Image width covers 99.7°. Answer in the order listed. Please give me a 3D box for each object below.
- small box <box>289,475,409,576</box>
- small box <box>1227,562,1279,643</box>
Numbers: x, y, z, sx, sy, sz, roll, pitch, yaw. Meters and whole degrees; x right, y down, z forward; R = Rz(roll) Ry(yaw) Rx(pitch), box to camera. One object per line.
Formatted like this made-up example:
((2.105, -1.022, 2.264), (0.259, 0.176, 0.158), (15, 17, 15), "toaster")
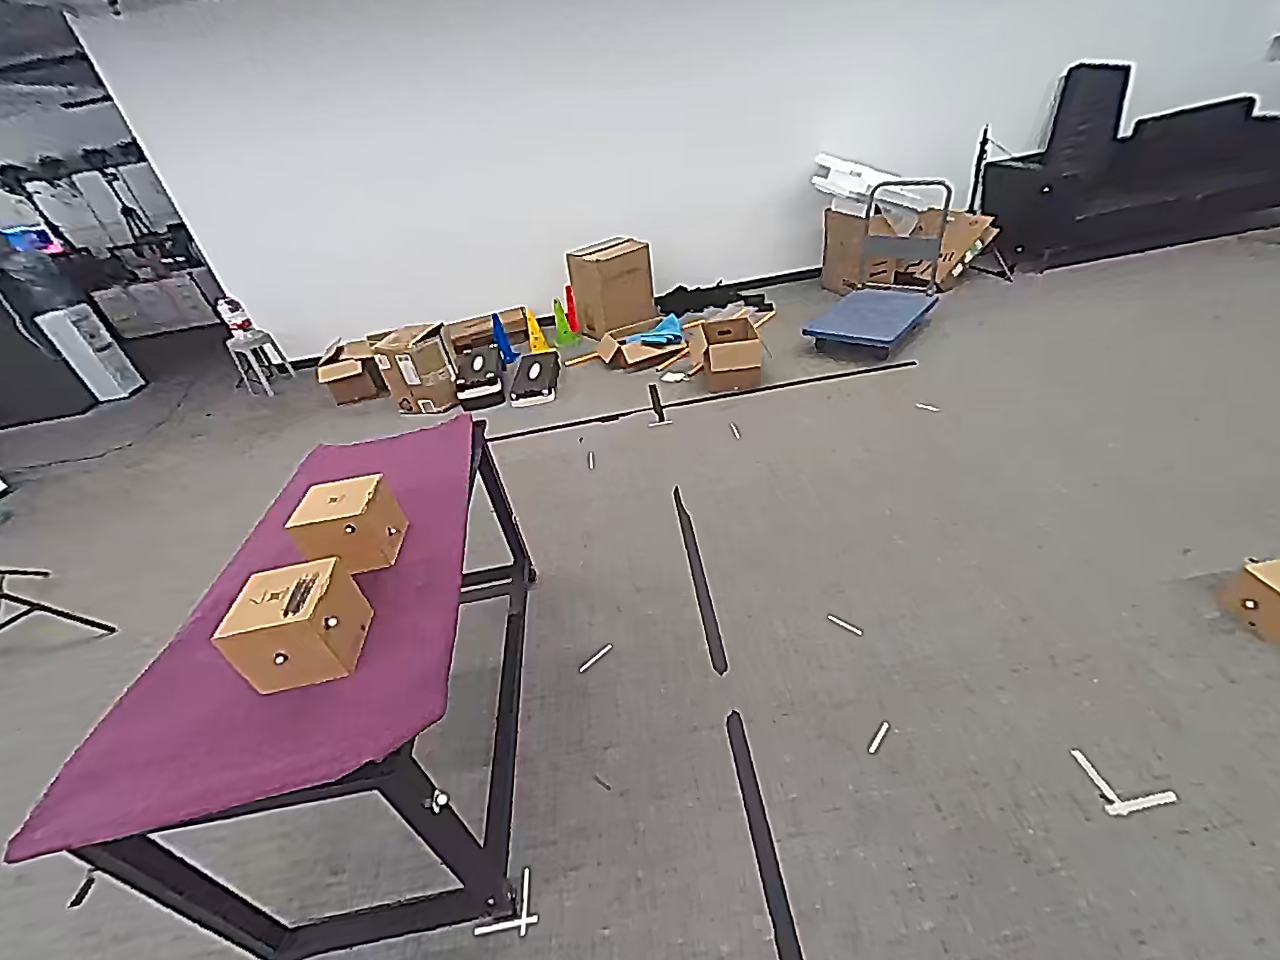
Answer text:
((-0.693, 0.113, 1.309), (0.179, 0.176, 0.168), (-11, 35, -1), "small box")
((1.900, 0.358, 1.587), (0.179, 0.176, 0.168), (-8, 35, 2), "small box")
